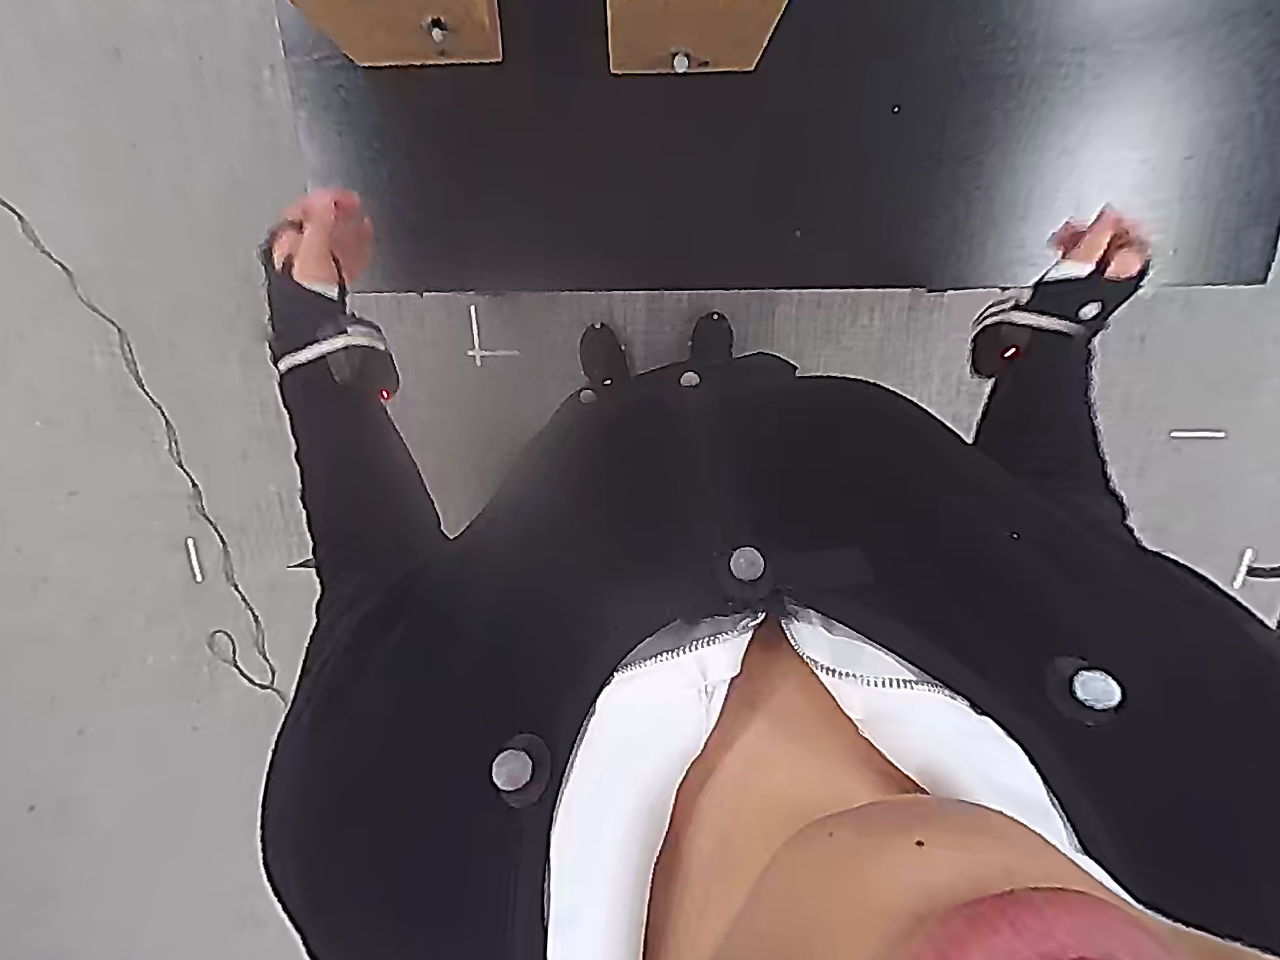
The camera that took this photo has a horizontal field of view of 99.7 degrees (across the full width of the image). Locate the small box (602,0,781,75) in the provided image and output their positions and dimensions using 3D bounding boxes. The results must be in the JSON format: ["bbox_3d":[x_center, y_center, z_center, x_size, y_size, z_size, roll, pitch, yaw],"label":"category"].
[{"bbox_3d":[0.044,-0.531,0.525,0.168,0.176,0.179,-1,108,-1],"label":"small box"}]

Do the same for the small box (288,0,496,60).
[{"bbox_3d":[-0.243,-0.535,0.518,0.168,0.176,0.179,-3,106,-2],"label":"small box"}]
